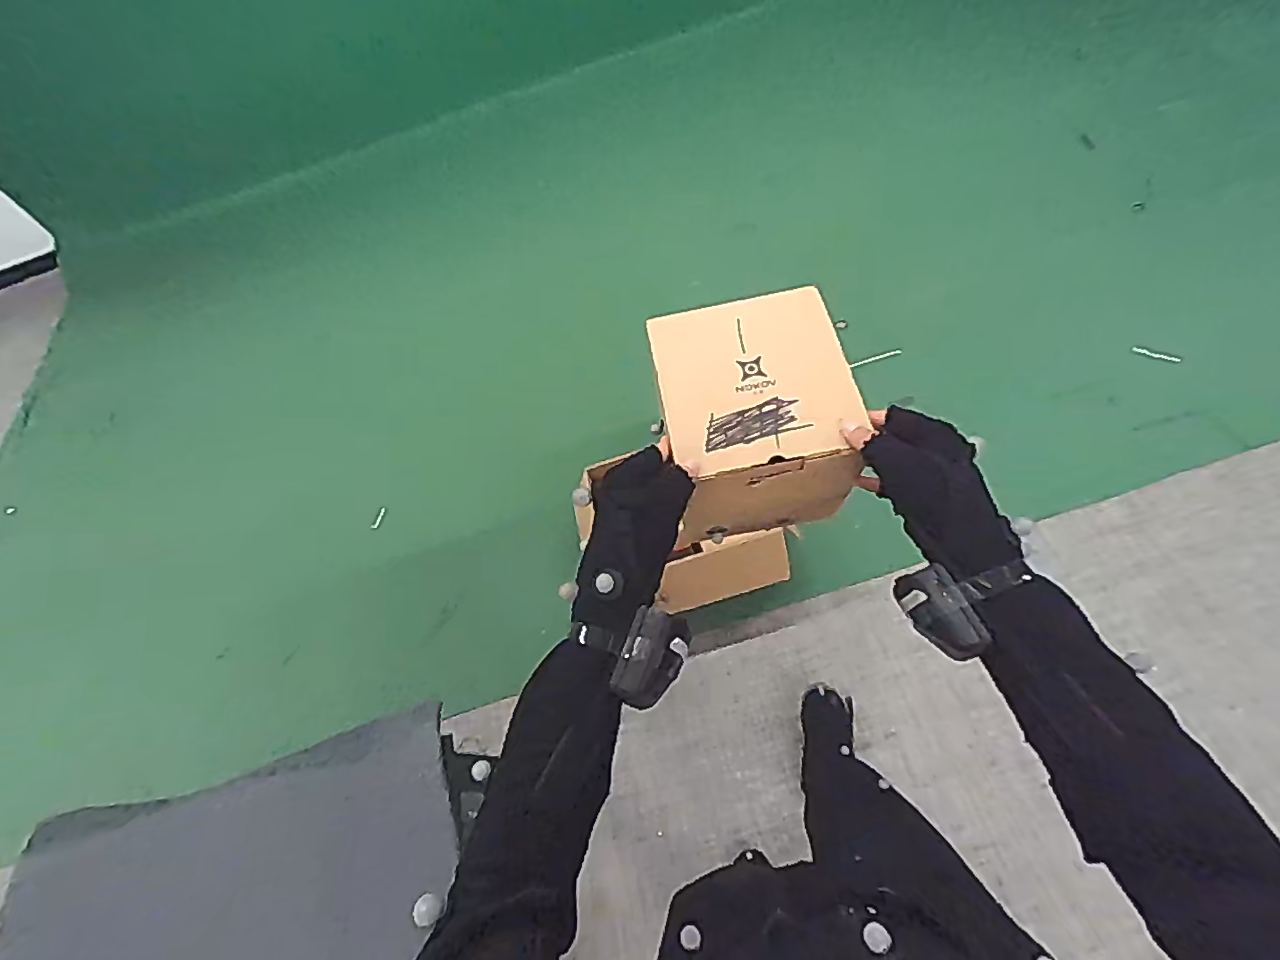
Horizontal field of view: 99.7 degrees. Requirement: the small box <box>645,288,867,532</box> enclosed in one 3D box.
[{"bbox_3d":[0.106,-0.057,0.551,0.168,0.176,0.179,-11,64,3],"label":"small box"}]
